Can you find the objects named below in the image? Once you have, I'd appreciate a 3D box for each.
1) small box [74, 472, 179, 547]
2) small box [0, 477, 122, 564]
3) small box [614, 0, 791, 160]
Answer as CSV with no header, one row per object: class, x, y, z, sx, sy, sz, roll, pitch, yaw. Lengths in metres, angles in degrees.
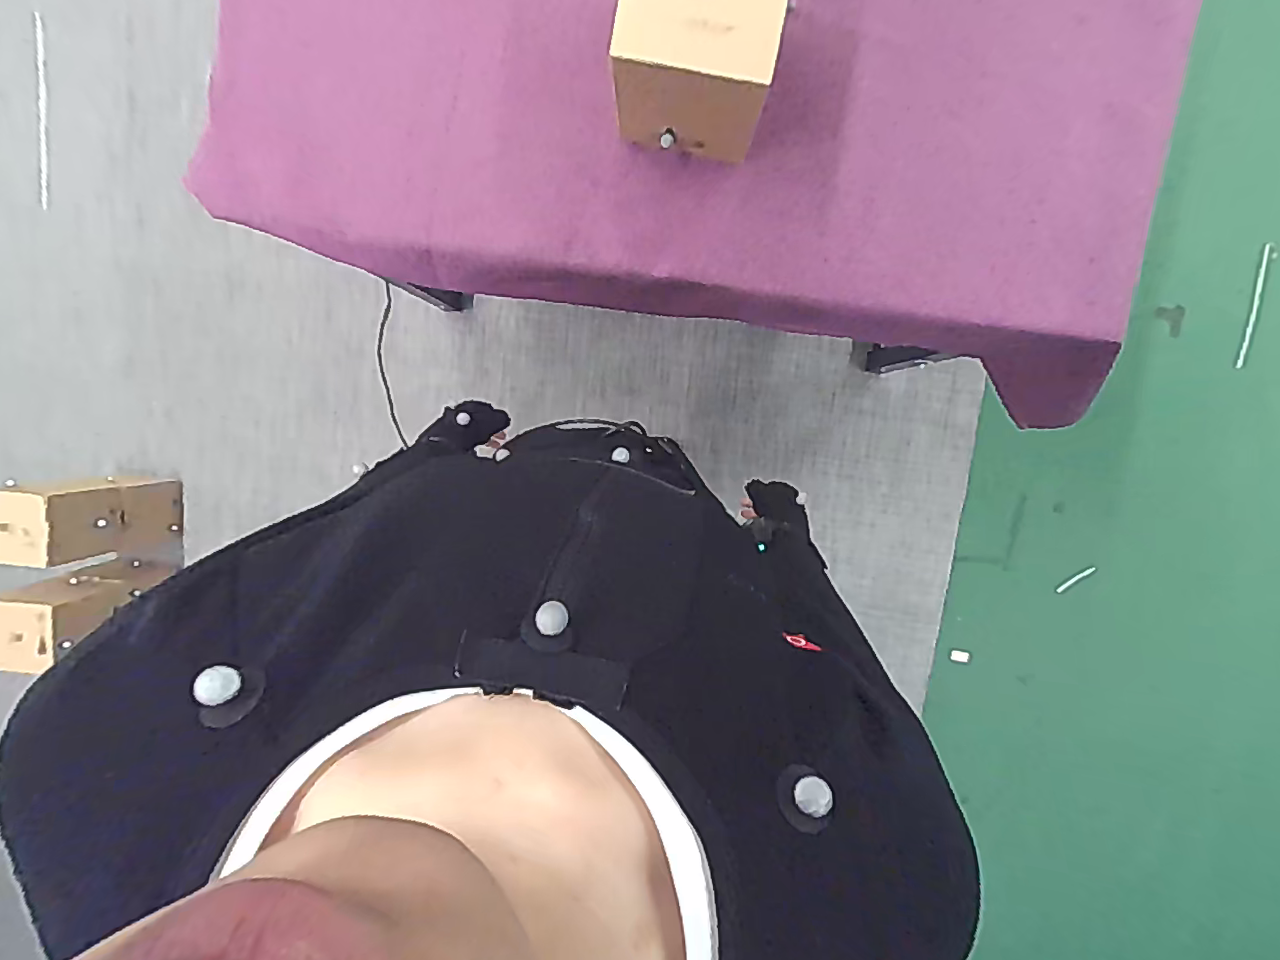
small box,-1.365,0.072,1.425,0.179,0.176,0.168,5,96,1
small box,-1.375,0.087,1.261,0.179,0.176,0.168,6,97,1
small box,0.071,-0.502,0.607,0.168,0.176,0.179,12,97,1
